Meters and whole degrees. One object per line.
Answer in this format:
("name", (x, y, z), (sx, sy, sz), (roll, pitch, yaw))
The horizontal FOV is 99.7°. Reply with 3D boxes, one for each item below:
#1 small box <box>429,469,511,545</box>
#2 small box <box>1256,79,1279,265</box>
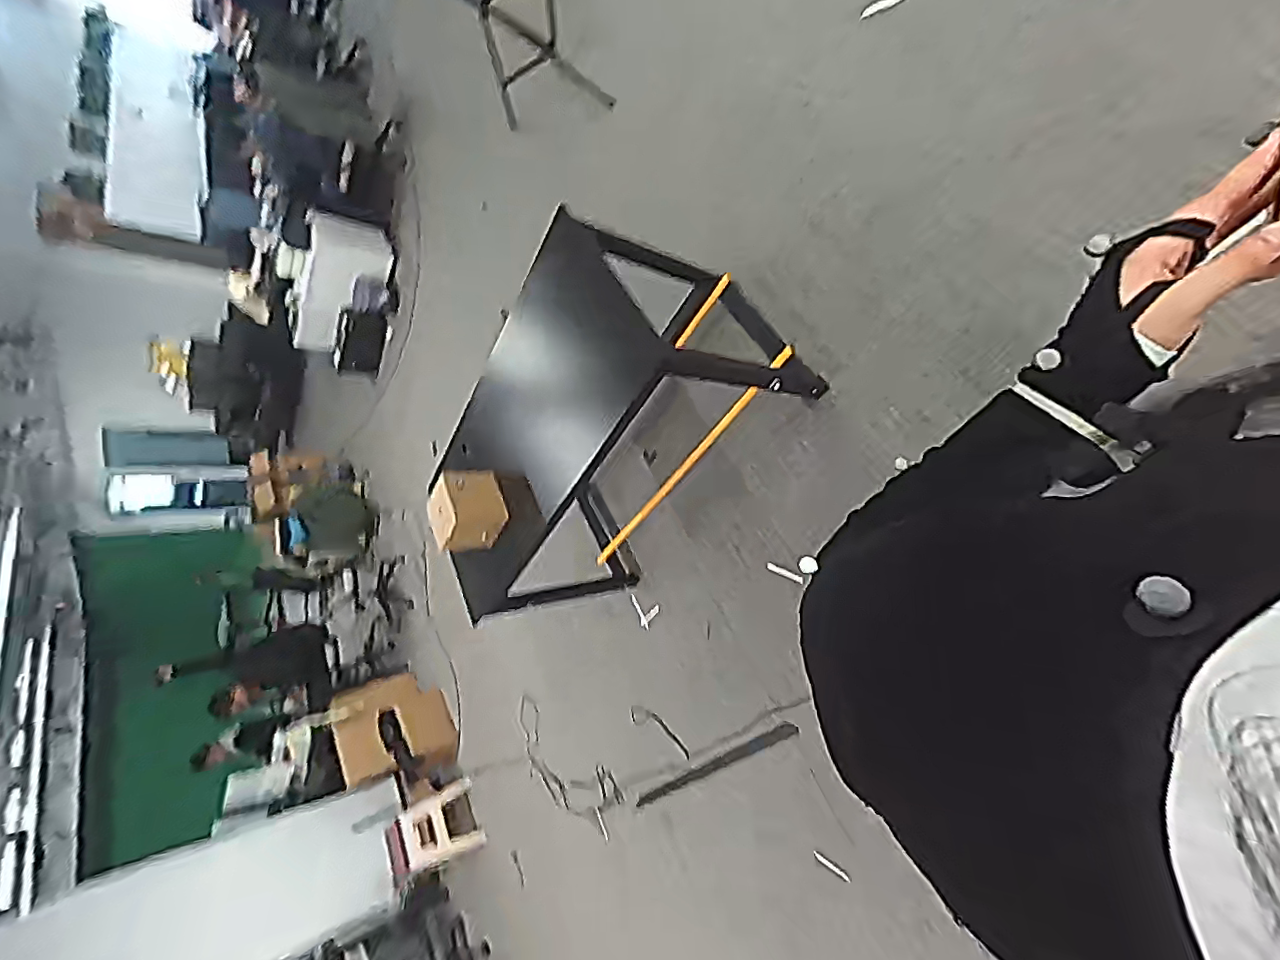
("small box", (-0.526, 0.084, 1.672), (0.168, 0.176, 0.179), (-49, 56, 37))
("small box", (0.470, -0.224, 0.293), (0.168, 0.176, 0.179), (7, 109, 46))
